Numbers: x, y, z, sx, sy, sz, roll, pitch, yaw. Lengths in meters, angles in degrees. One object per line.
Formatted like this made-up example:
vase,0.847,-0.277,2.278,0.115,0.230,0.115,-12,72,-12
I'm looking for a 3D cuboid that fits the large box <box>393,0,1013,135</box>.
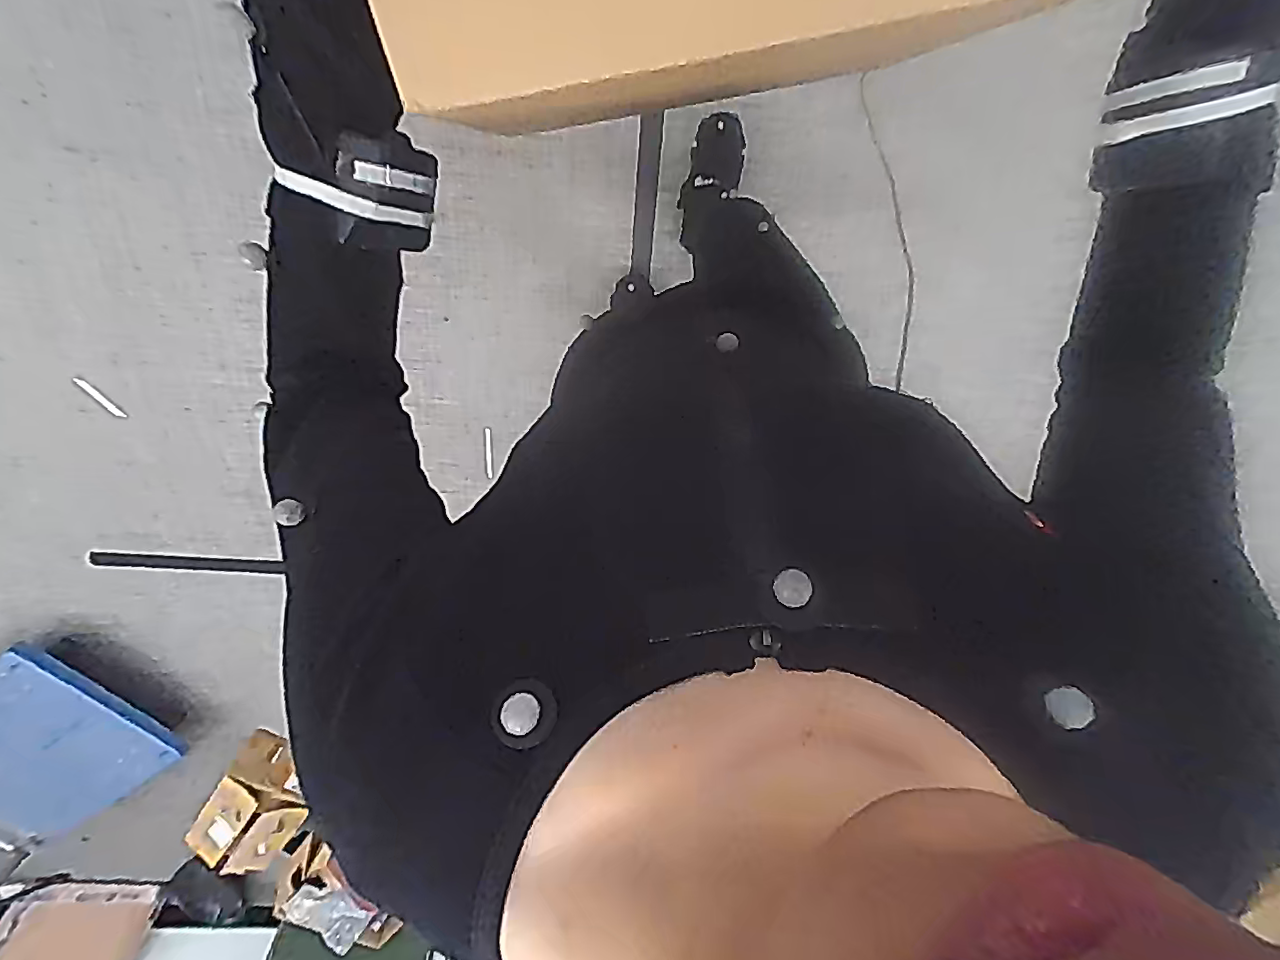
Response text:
large box,0.040,-0.446,0.344,0.408,0.320,0.320,-10,120,2
